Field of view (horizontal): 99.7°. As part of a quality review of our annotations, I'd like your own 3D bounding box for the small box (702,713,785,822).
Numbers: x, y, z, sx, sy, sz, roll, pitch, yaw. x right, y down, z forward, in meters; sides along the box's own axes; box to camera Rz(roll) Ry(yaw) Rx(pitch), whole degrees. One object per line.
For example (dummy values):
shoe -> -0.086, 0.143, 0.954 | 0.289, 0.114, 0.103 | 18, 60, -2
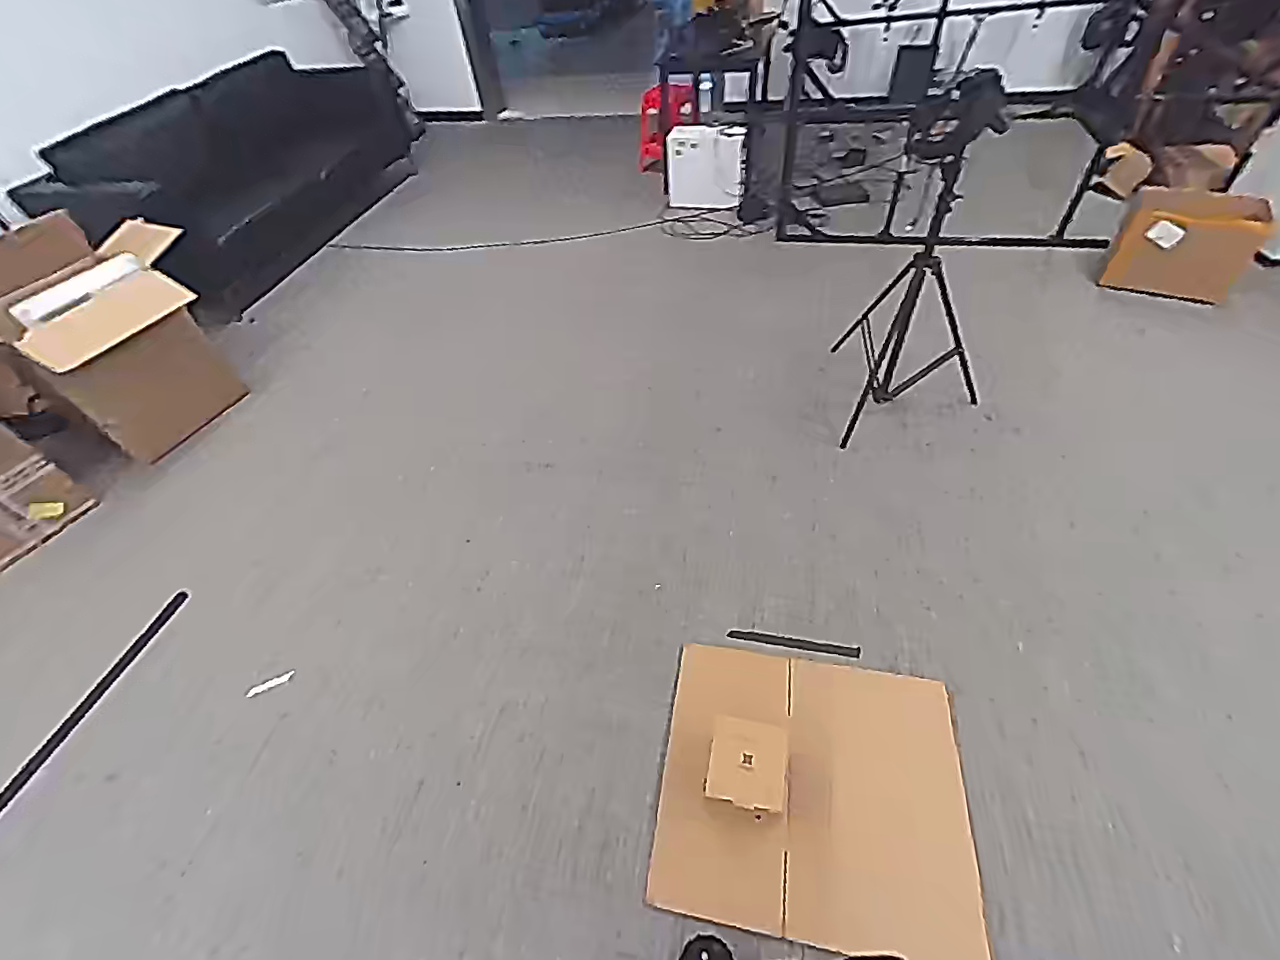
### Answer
small box -> 0.237, 0.670, 1.253 | 0.168, 0.176, 0.179 | 7, 50, 11
